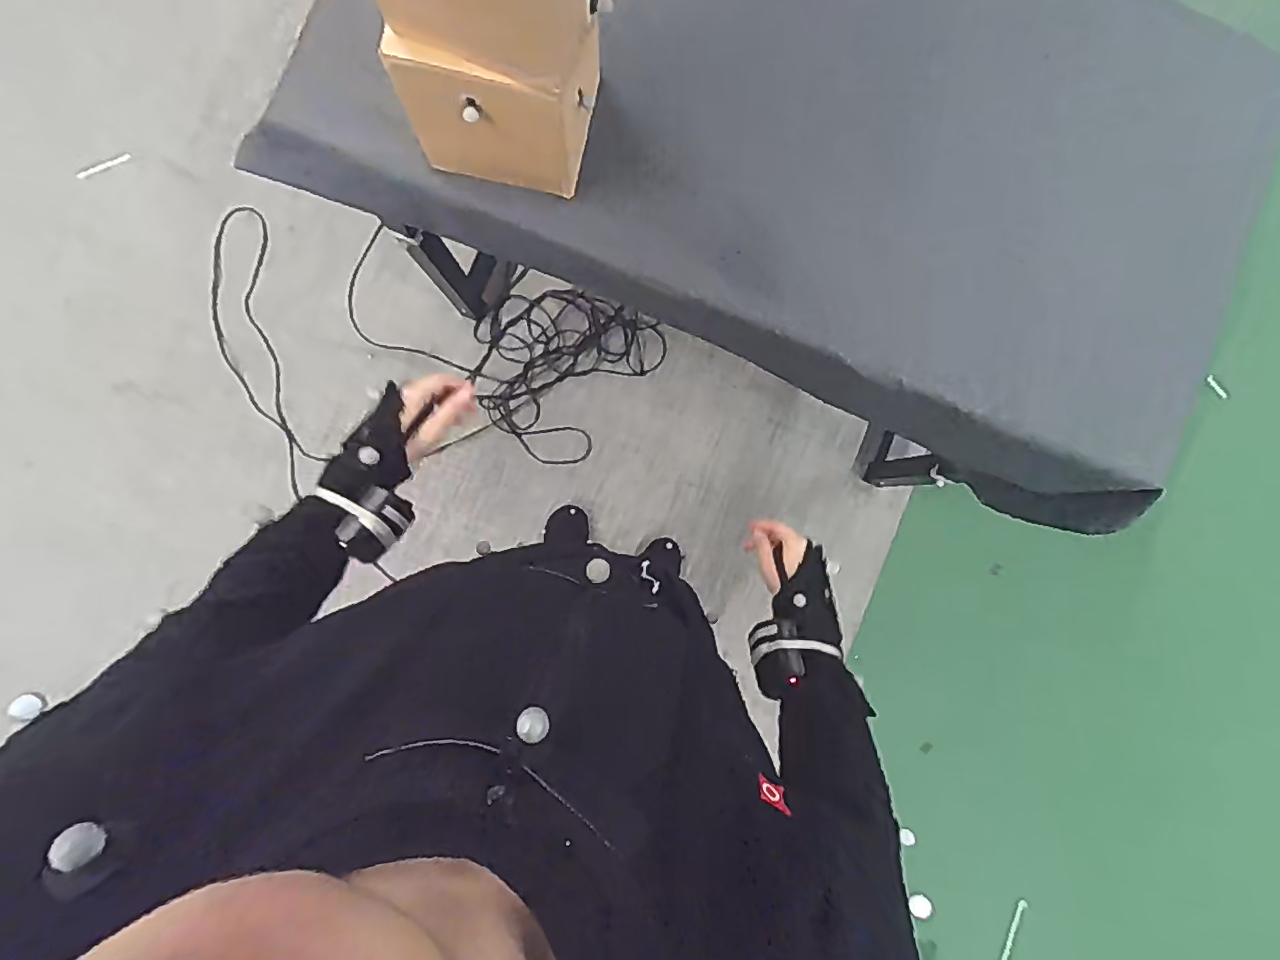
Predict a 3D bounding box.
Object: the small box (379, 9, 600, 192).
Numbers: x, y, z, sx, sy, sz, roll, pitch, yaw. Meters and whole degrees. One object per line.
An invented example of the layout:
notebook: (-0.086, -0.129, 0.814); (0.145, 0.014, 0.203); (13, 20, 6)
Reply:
small box: (-0.142, -0.444, 0.581); (0.179, 0.176, 0.168); (12, 86, -3)

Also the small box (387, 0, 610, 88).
small box: (-0.114, -0.459, 0.420); (0.179, 0.176, 0.168); (21, 87, -3)
